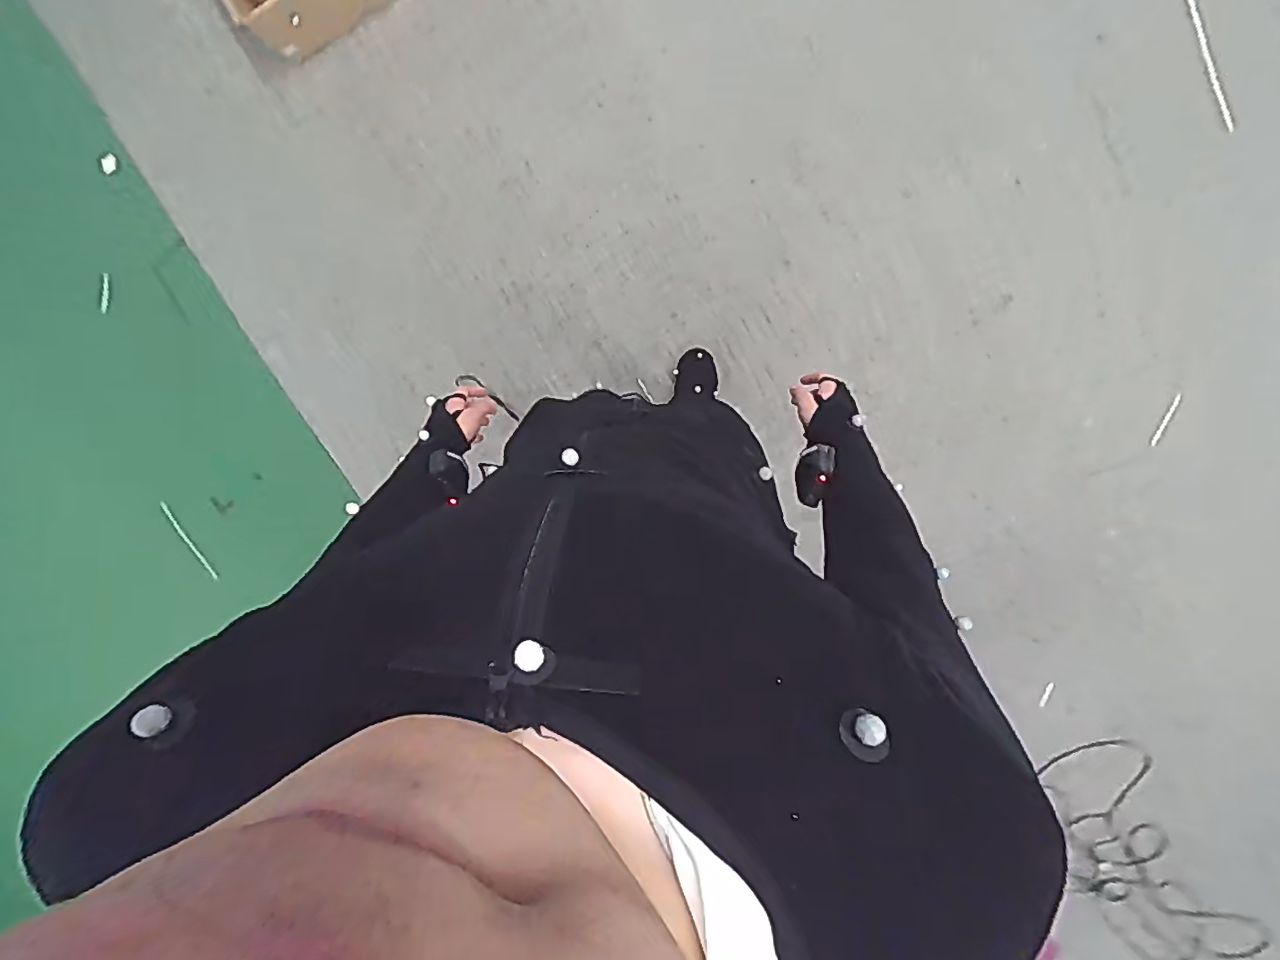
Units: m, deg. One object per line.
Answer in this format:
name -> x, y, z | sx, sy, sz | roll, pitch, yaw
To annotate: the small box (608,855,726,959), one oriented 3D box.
small box -> 0.061, 0.879, 1.046 | 0.168, 0.176, 0.179 | -27, 101, 13
